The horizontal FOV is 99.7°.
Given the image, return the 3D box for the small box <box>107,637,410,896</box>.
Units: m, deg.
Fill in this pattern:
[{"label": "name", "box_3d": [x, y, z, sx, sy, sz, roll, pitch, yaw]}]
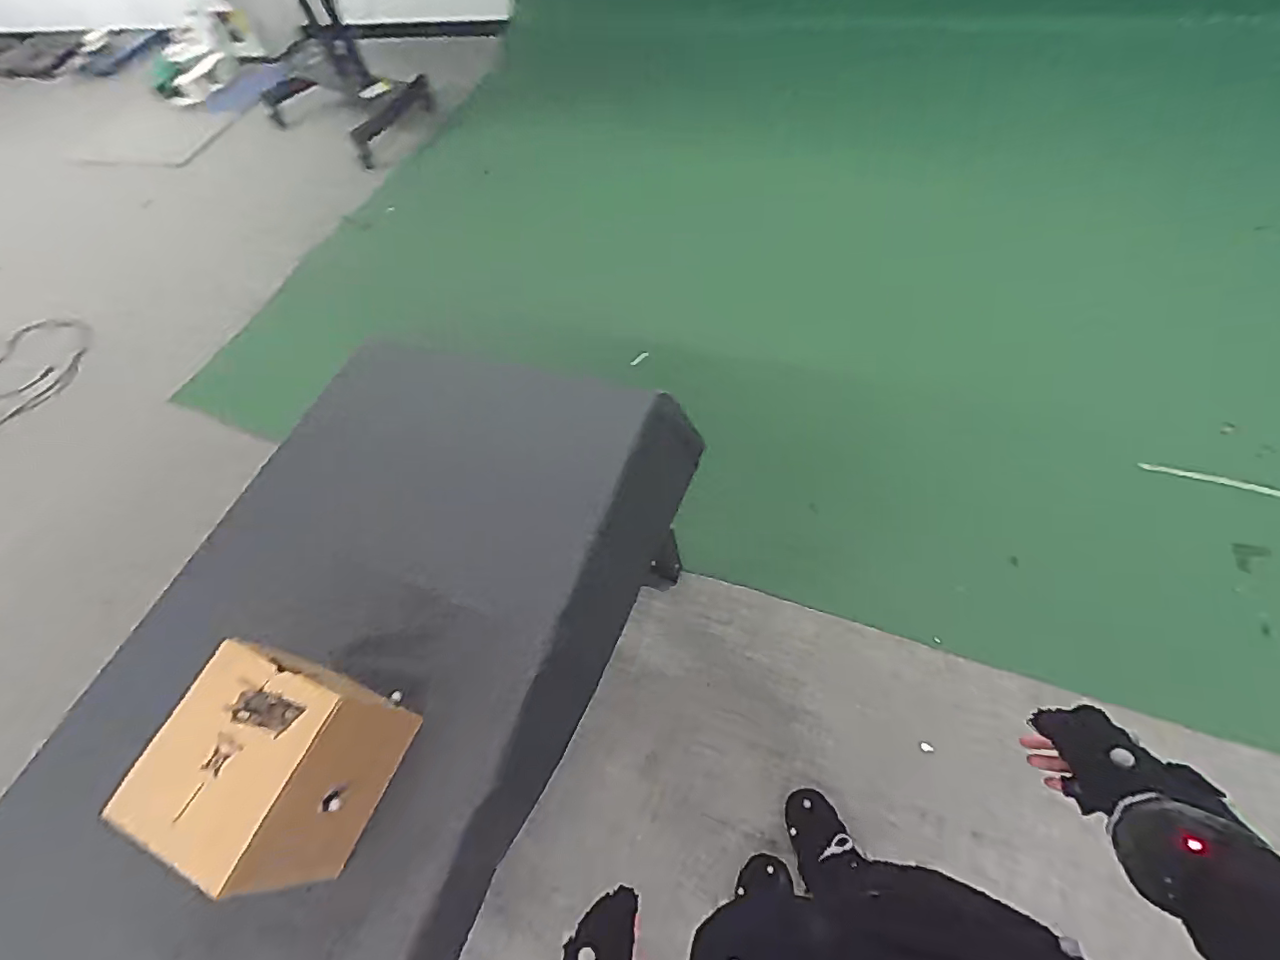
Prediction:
[{"label": "small box", "box_3d": [-0.383, 0.299, 0.585, 0.168, 0.176, 0.179, 16, 64, 18]}]
